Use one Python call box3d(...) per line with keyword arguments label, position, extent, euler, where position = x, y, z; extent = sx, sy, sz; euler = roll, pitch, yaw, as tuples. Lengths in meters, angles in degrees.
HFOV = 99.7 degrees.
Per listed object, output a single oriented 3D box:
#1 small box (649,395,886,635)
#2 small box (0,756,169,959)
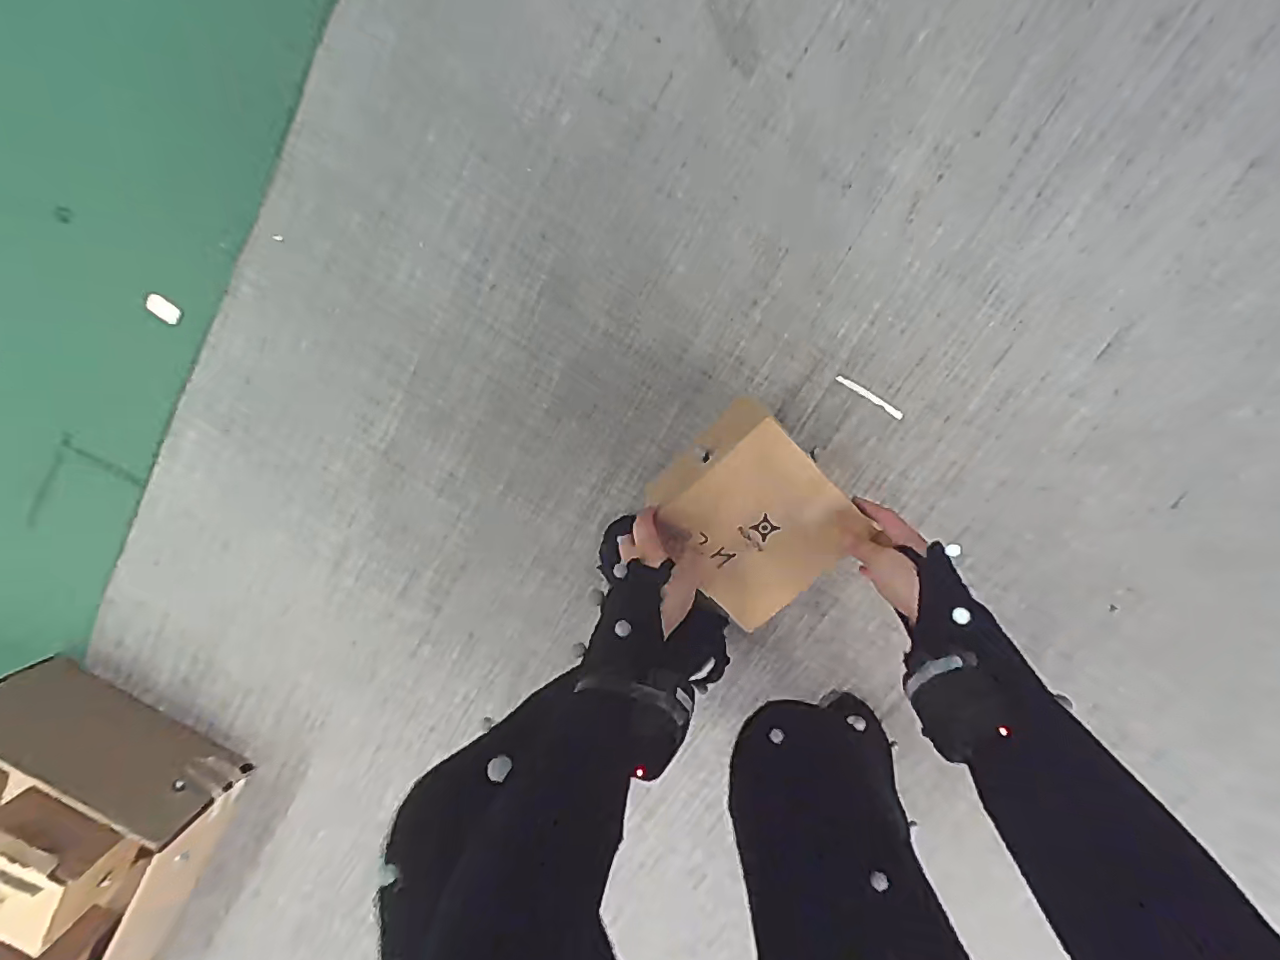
box3d(label="small box", position=(0.127, 0.027, 0.605), extent=(0.179, 0.176, 0.168), euler=(-43, 100, 16))
box3d(label="small box", position=(-0.915, 0.589, 0.864), extent=(0.168, 0.176, 0.179), euler=(32, 104, -4))
